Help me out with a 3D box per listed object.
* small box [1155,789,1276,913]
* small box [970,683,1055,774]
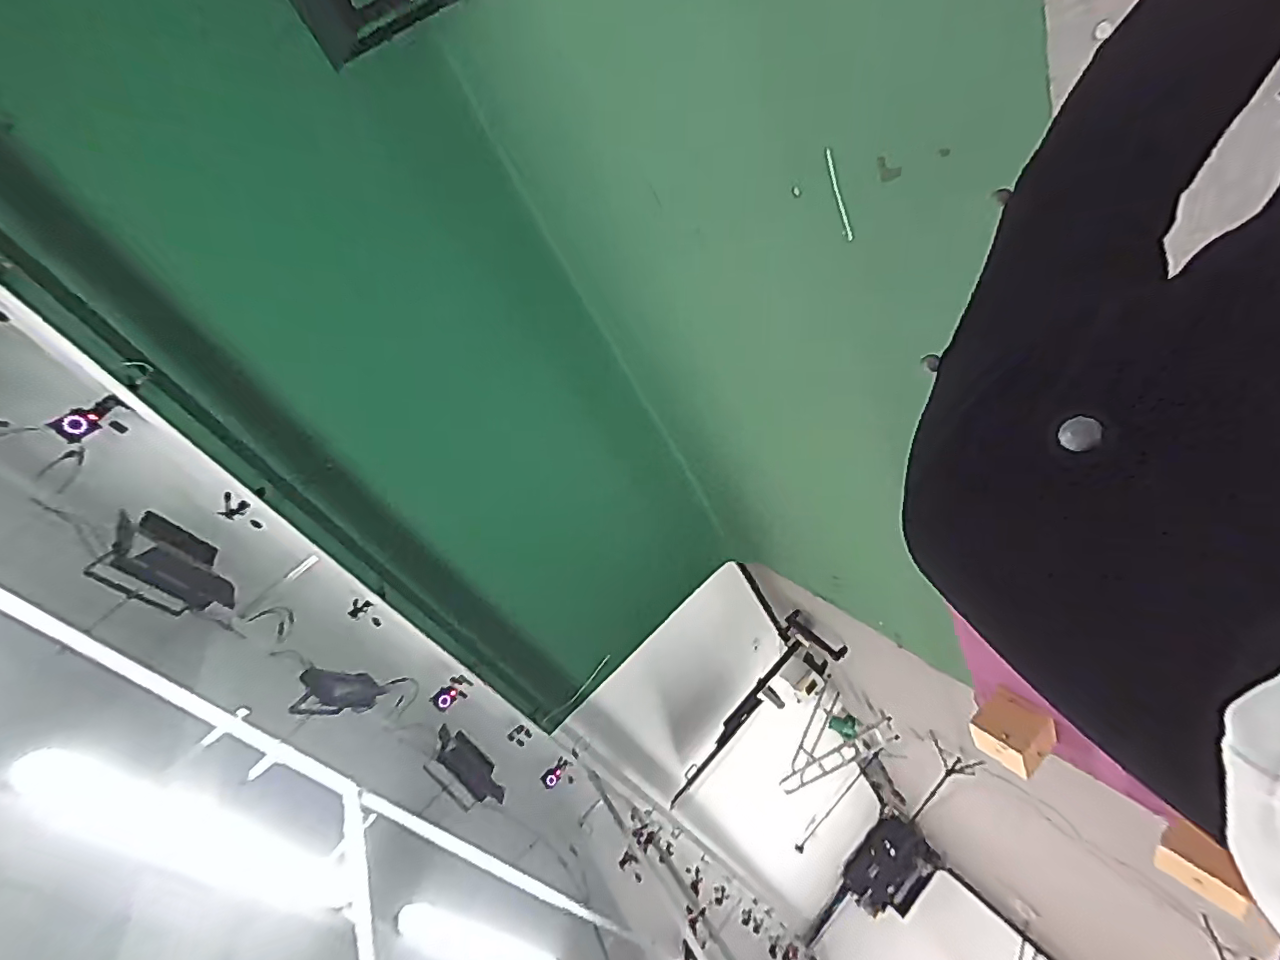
[{"bbox_3d":[1.459,0.938,1.376,0.168,0.176,0.179,28,155,54],"label":"small box"},{"bbox_3d":[1.213,0.802,1.756,0.168,0.176,0.179,26,155,55],"label":"small box"}]
